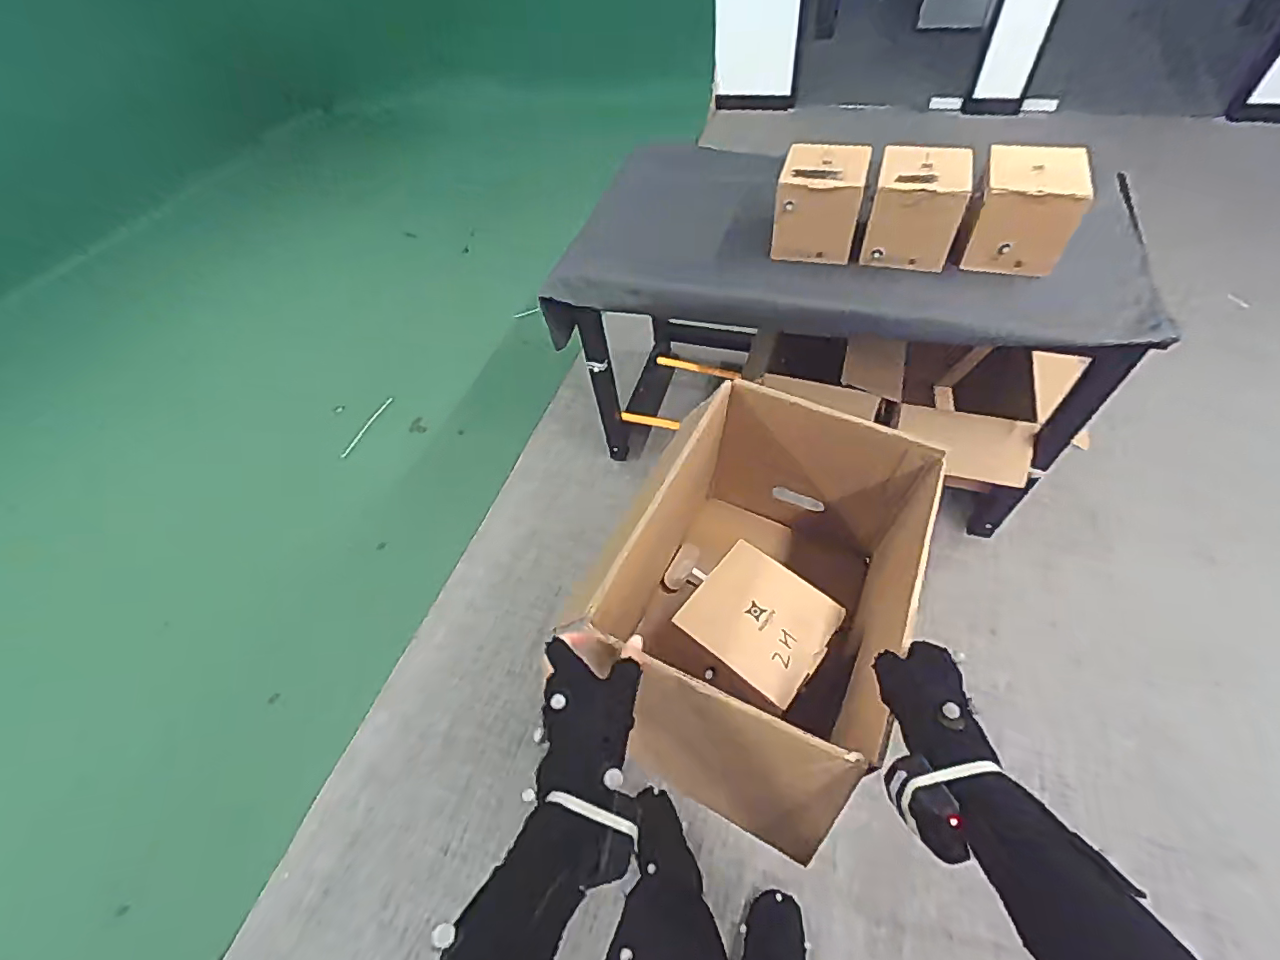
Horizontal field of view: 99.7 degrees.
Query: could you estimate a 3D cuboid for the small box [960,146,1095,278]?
[{"bbox_3d":[0.759,-0.534,1.078,0.168,0.176,0.179,13,58,16],"label":"small box"}]
